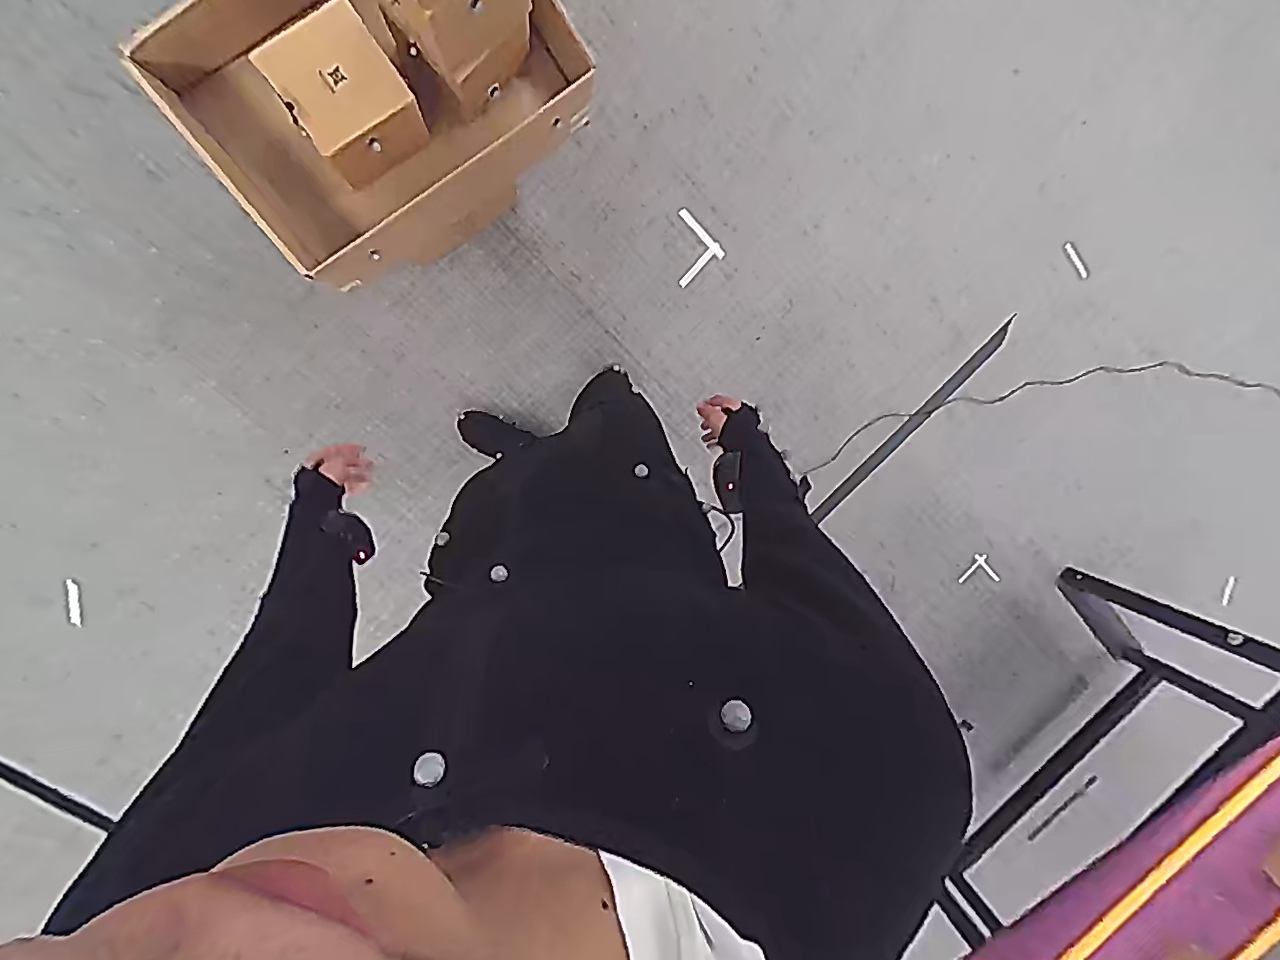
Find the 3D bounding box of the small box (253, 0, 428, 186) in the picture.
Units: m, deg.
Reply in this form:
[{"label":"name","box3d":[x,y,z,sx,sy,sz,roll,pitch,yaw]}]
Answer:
[{"label":"small box","box3d":[-0.479,-0.635,0.905,0.179,0.176,0.168,-36,105,-2]}]

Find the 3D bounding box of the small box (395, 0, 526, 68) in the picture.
[{"label":"small box","box3d":[-0.271,-0.732,0.749,0.179,0.176,0.168,-40,106,1]}]
